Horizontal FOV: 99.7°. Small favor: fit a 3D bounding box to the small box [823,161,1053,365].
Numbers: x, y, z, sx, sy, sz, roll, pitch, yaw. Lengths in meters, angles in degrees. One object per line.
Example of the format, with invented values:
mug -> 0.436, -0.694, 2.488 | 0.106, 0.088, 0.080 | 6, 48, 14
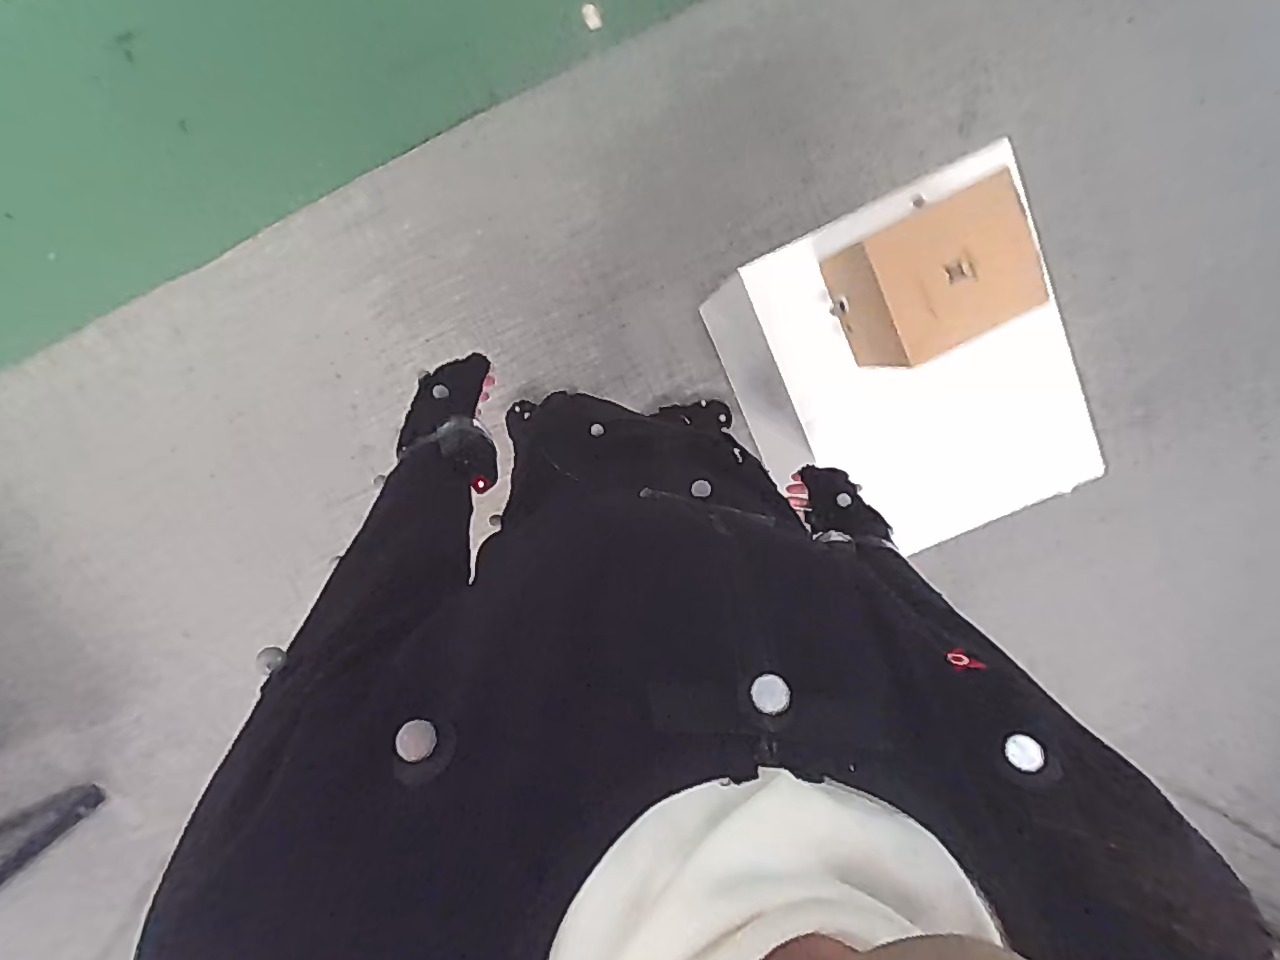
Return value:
small box -> 0.364, -0.261, 0.691 | 0.179, 0.176, 0.168 | -26, 101, 8
